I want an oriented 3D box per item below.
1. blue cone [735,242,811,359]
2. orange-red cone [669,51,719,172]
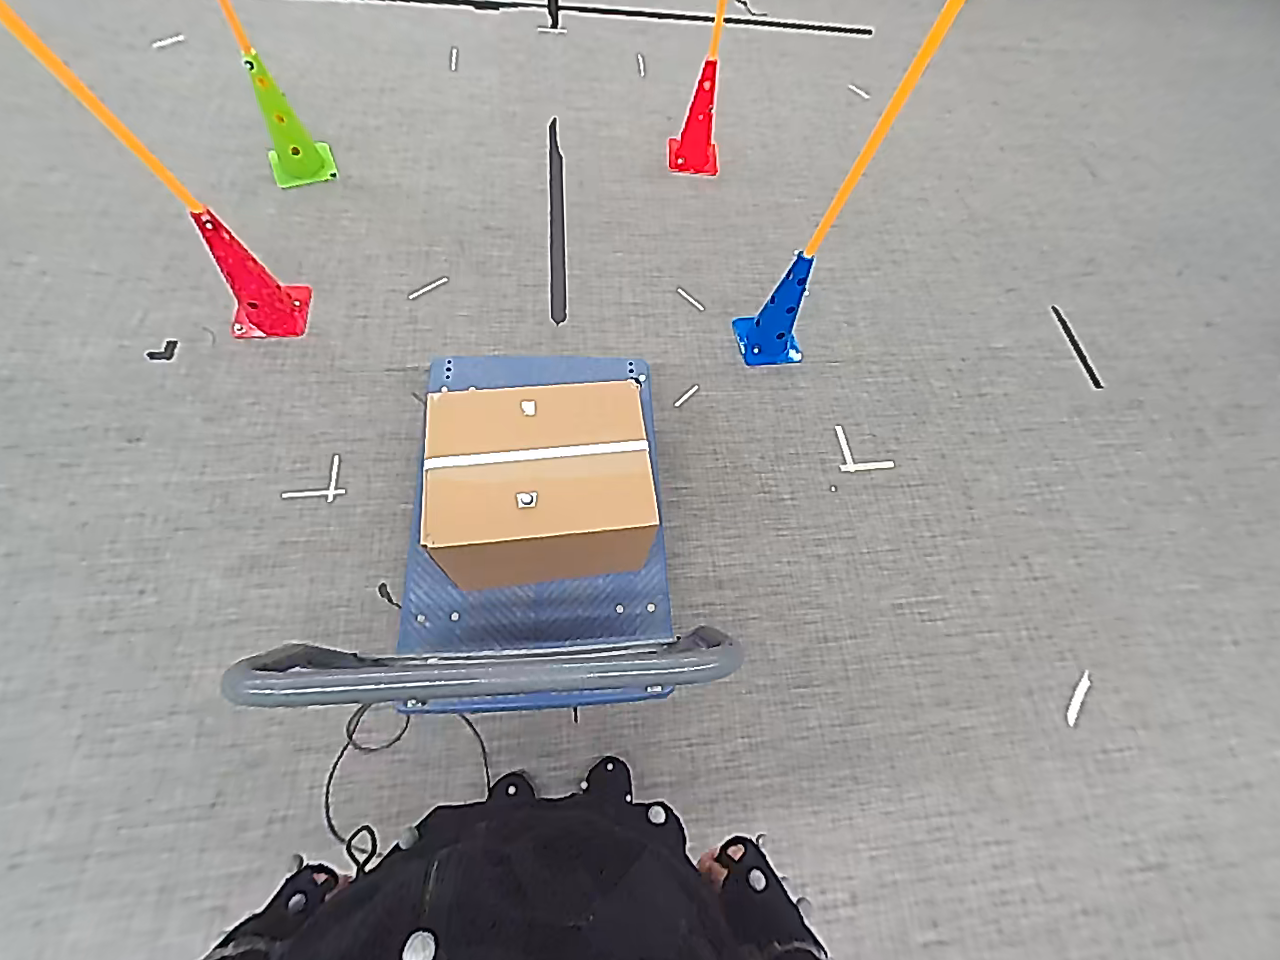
[{"bbox_3d":[0.439,-0.551,1.647,0.193,0.380,0.192,-6,65,-10],"label":"blue cone"},{"bbox_3d":[0.232,-1.369,1.989,0.199,0.360,0.198,4,65,-6],"label":"orange-red cone"}]
